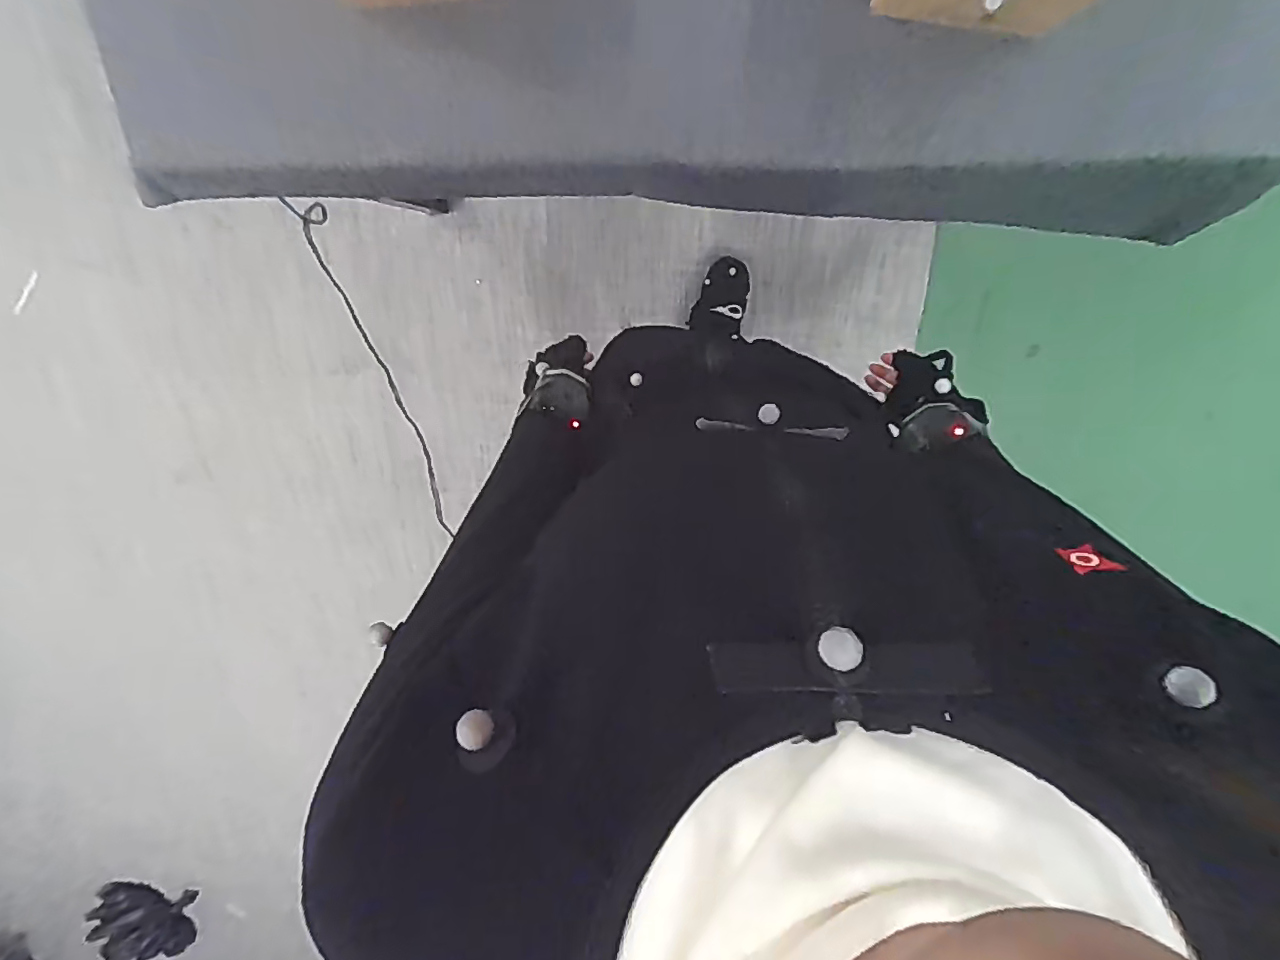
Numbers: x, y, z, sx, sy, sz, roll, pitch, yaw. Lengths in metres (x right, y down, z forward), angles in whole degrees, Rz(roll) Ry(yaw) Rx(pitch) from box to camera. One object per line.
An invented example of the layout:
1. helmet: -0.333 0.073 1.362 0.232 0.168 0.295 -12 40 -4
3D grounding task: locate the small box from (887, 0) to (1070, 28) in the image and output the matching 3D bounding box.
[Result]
1. small box: 0.301 -0.486 0.412 0.168 0.176 0.179 7 112 1
